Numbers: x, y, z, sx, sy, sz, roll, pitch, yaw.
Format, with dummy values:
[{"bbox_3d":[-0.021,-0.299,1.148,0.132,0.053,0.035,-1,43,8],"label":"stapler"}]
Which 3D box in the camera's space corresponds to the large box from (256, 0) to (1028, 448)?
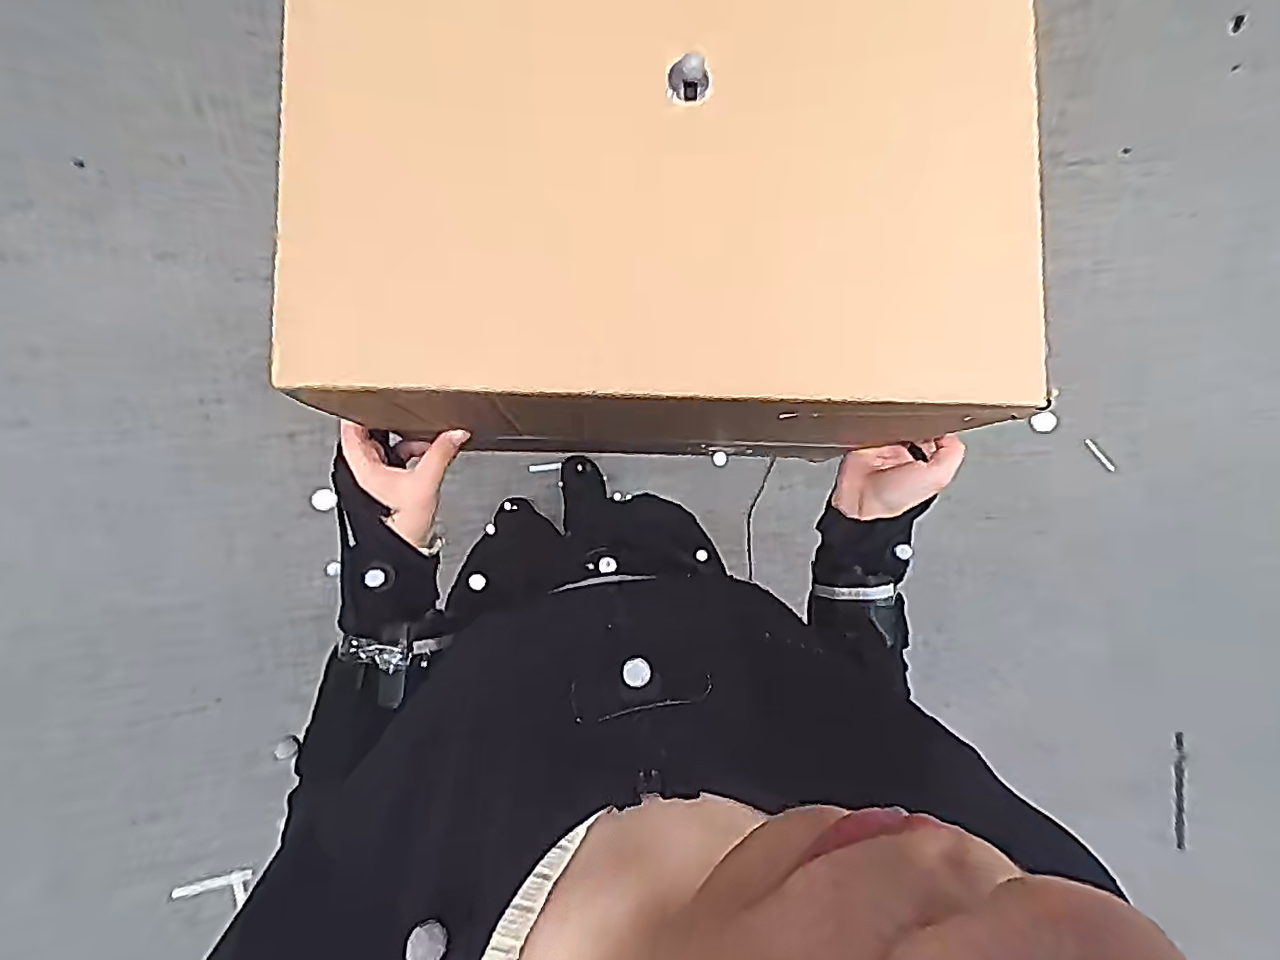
[{"bbox_3d":[-0.003,-0.195,0.430,0.408,0.320,0.320,-1,89,-4],"label":"large box"}]
